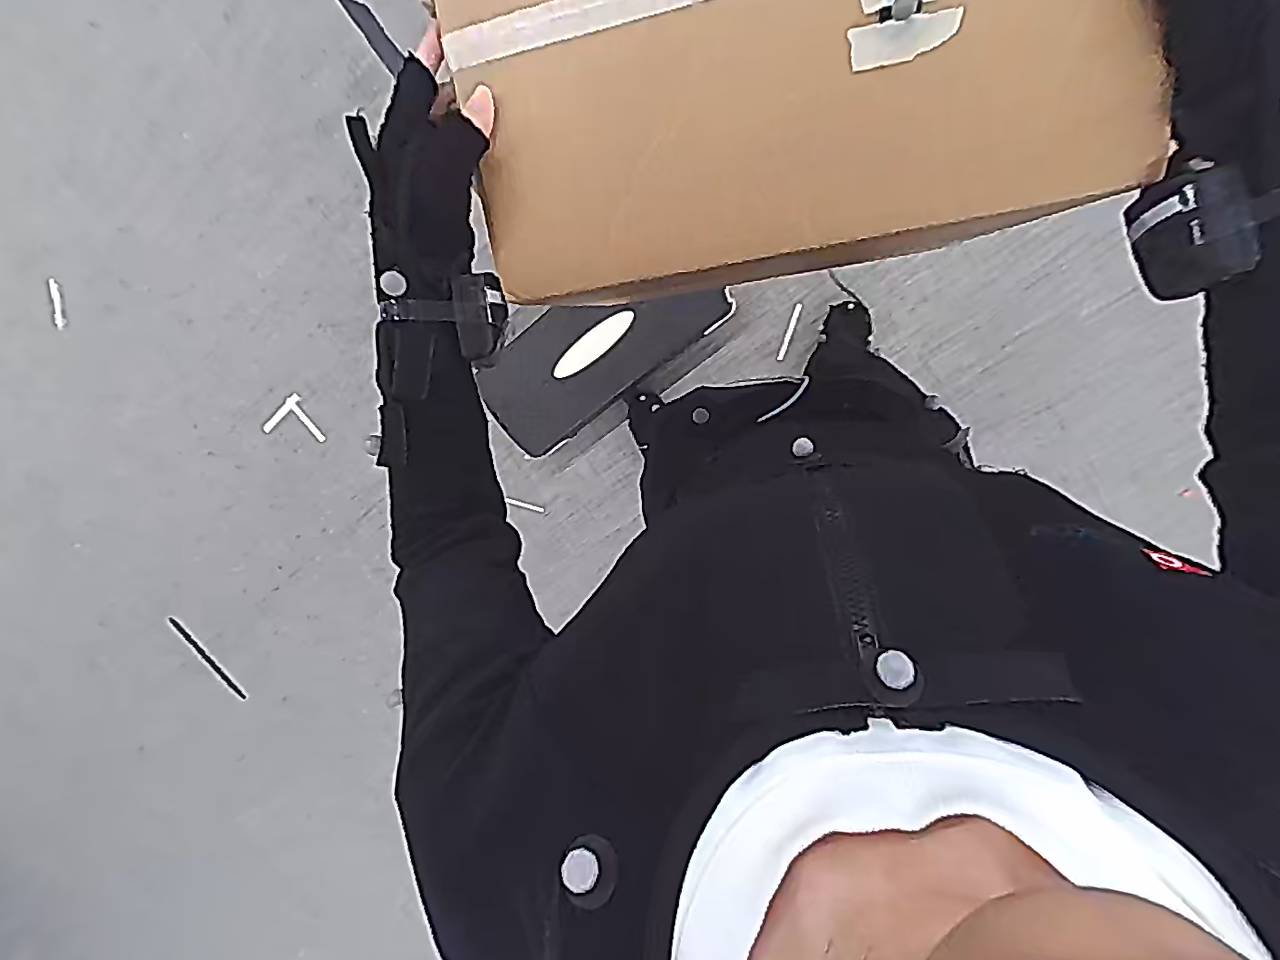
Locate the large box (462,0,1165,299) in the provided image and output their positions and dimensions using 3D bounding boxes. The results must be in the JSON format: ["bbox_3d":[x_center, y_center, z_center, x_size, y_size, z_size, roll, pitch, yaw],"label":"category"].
[{"bbox_3d":[0.104,-0.351,0.456,0.408,0.320,0.320,-7,107,11],"label":"large box"}]
